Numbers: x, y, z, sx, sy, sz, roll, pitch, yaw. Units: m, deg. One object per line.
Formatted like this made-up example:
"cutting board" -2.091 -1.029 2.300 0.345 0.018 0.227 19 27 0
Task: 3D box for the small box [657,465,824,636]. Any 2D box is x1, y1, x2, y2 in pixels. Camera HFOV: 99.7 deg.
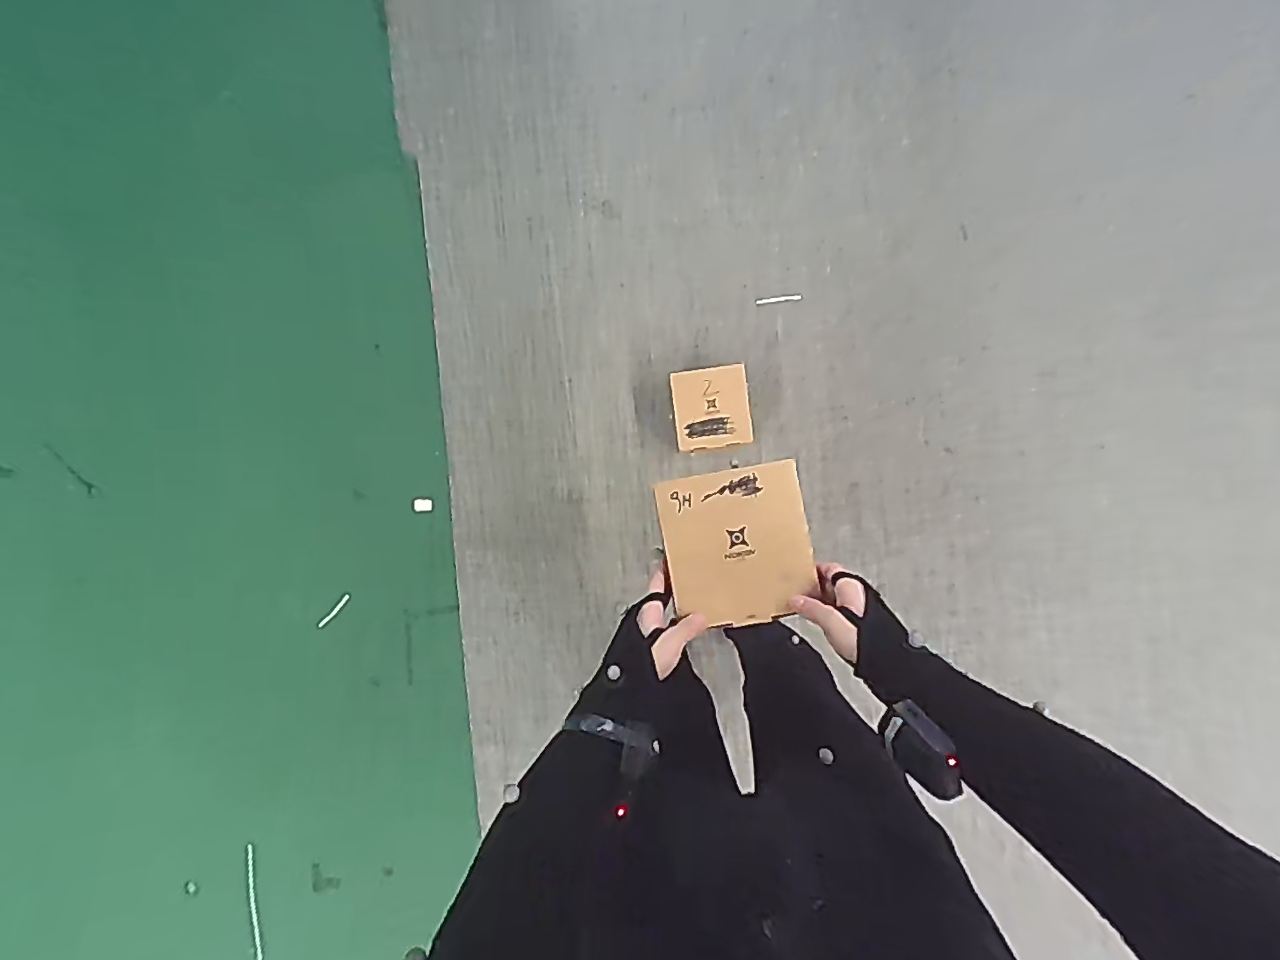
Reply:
"small box" 0.117 0.083 0.695 0.168 0.176 0.179 -10 86 0
